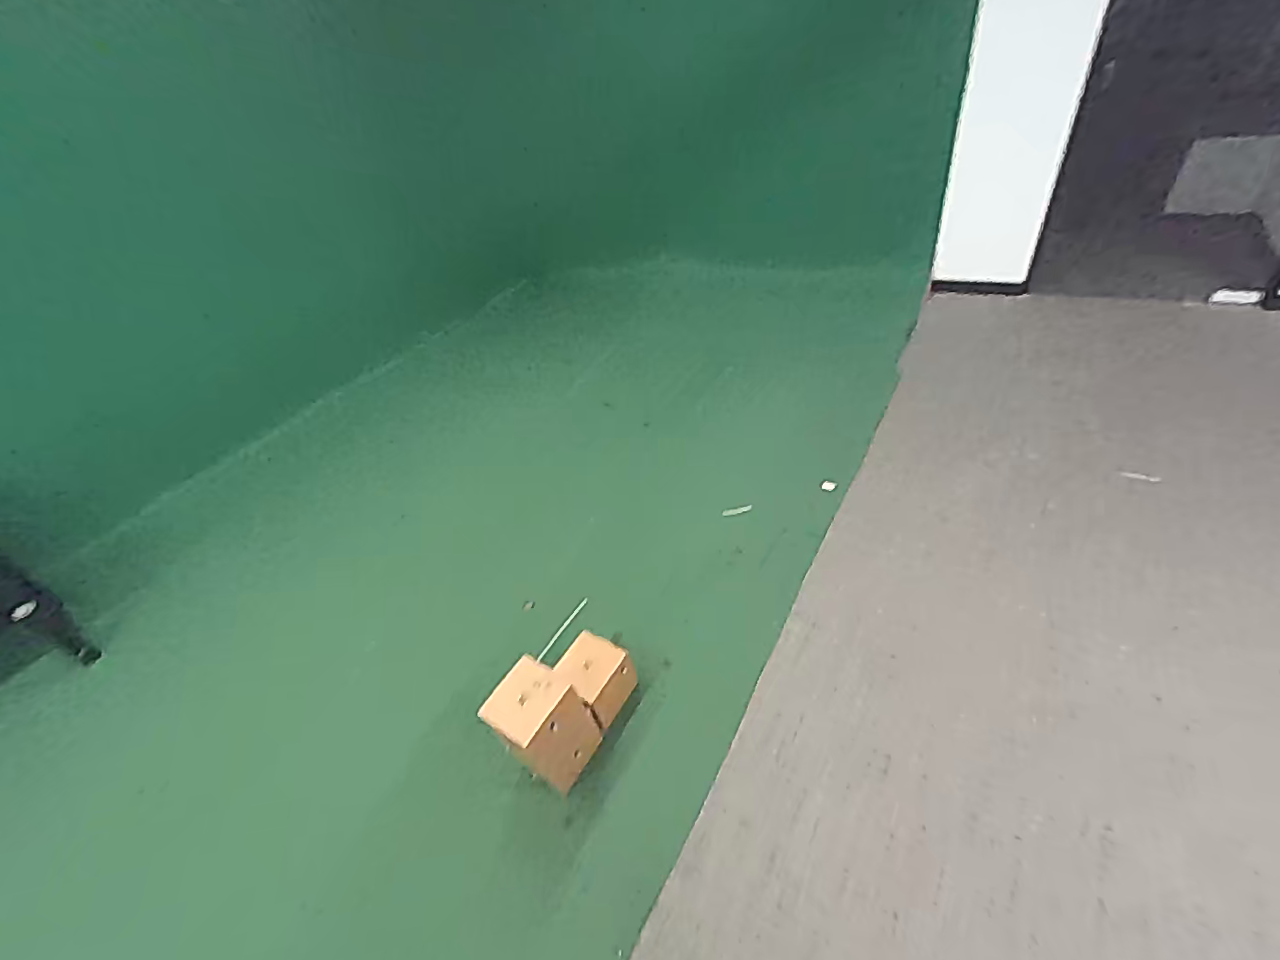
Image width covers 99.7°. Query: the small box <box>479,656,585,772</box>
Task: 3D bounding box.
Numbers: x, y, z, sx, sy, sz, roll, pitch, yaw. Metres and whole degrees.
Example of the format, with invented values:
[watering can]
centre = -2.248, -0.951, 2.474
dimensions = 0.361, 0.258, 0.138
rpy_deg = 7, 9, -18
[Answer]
[small box]
centre = -0.259, 0.585, 1.348
dimensions = 0.168, 0.176, 0.179
rpy_deg = 18, 49, 31
